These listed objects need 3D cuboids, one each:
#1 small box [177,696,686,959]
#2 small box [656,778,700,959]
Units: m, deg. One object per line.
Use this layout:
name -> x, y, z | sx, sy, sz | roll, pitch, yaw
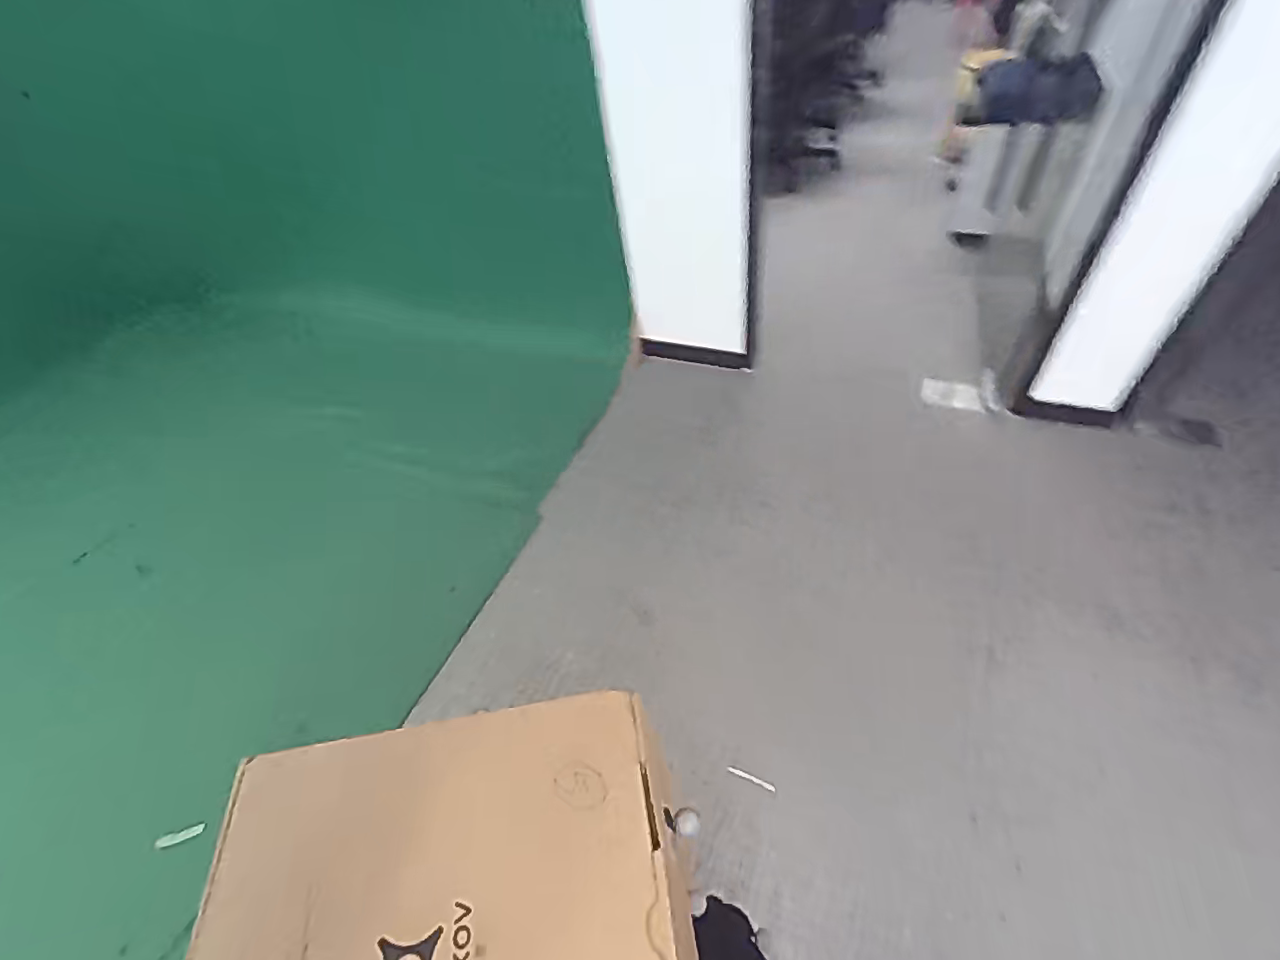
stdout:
small box -> -0.071, 0.221, 0.250 | 0.179, 0.176, 0.168 | -13, 52, 1
small box -> -0.041, 0.402, 0.520 | 0.179, 0.176, 0.168 | -12, 52, 1
